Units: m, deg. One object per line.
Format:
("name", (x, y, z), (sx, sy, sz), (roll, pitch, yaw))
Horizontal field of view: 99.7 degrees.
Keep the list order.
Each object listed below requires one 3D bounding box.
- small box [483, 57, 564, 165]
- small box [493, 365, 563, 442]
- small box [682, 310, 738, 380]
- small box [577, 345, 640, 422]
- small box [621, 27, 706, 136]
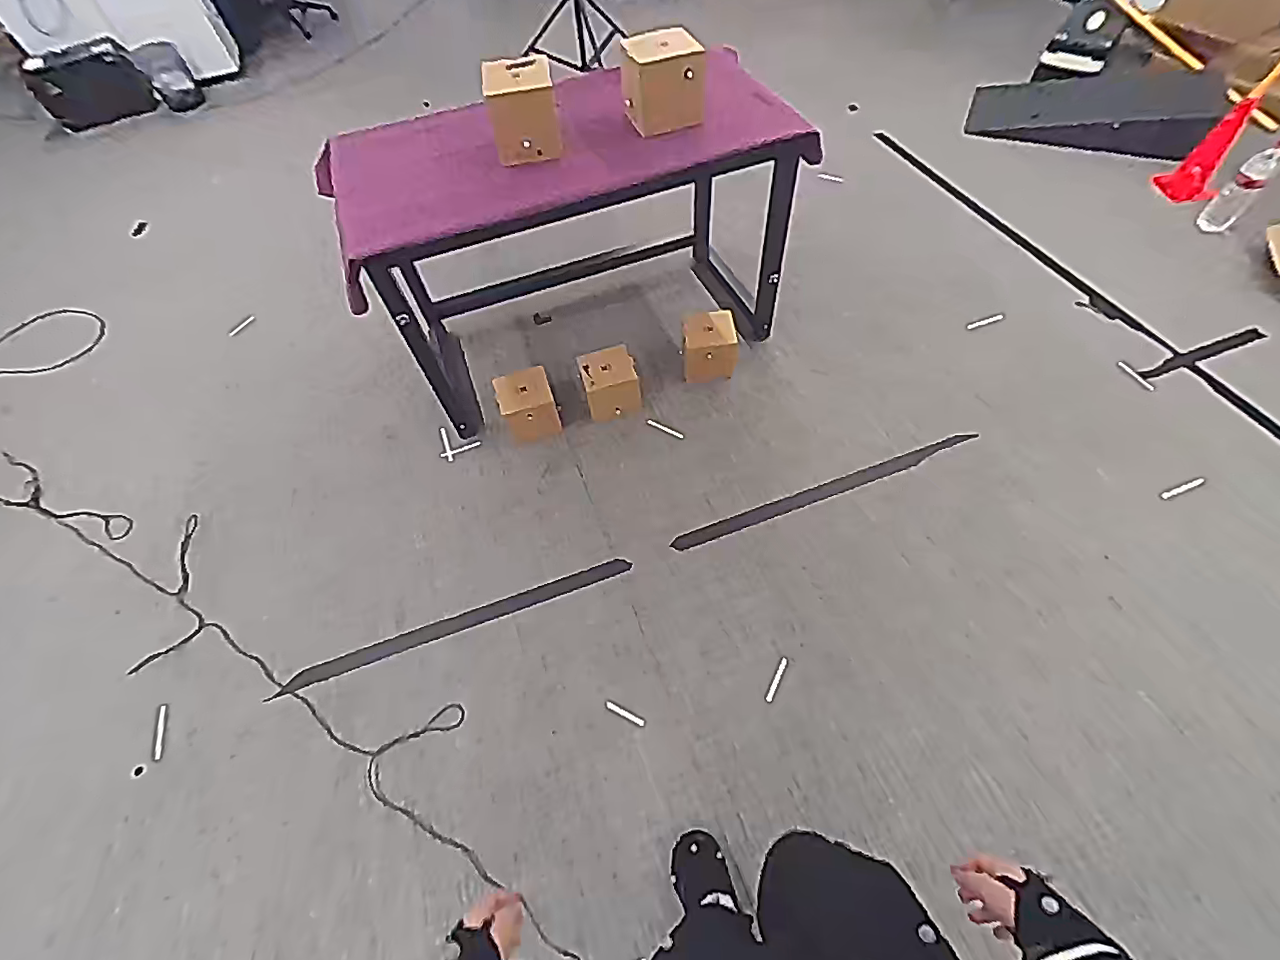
("small box", (-0.294, -0.940, 1.381), (0.168, 0.176, 0.179), (-10, 58, -1))
("small box", (-0.374, -0.251, 1.820), (0.179, 0.176, 0.168), (-18, 60, -7))
("small box", (0.242, -0.473, 1.909), (0.179, 0.176, 0.168), (-6, 59, 3))
("small box", (-0.102, -0.325, 1.844), (0.179, 0.176, 0.168), (-16, 58, -6))
("small box", (0.060, -1.039, 1.414), (0.179, 0.176, 0.168), (-18, 58, -6))
